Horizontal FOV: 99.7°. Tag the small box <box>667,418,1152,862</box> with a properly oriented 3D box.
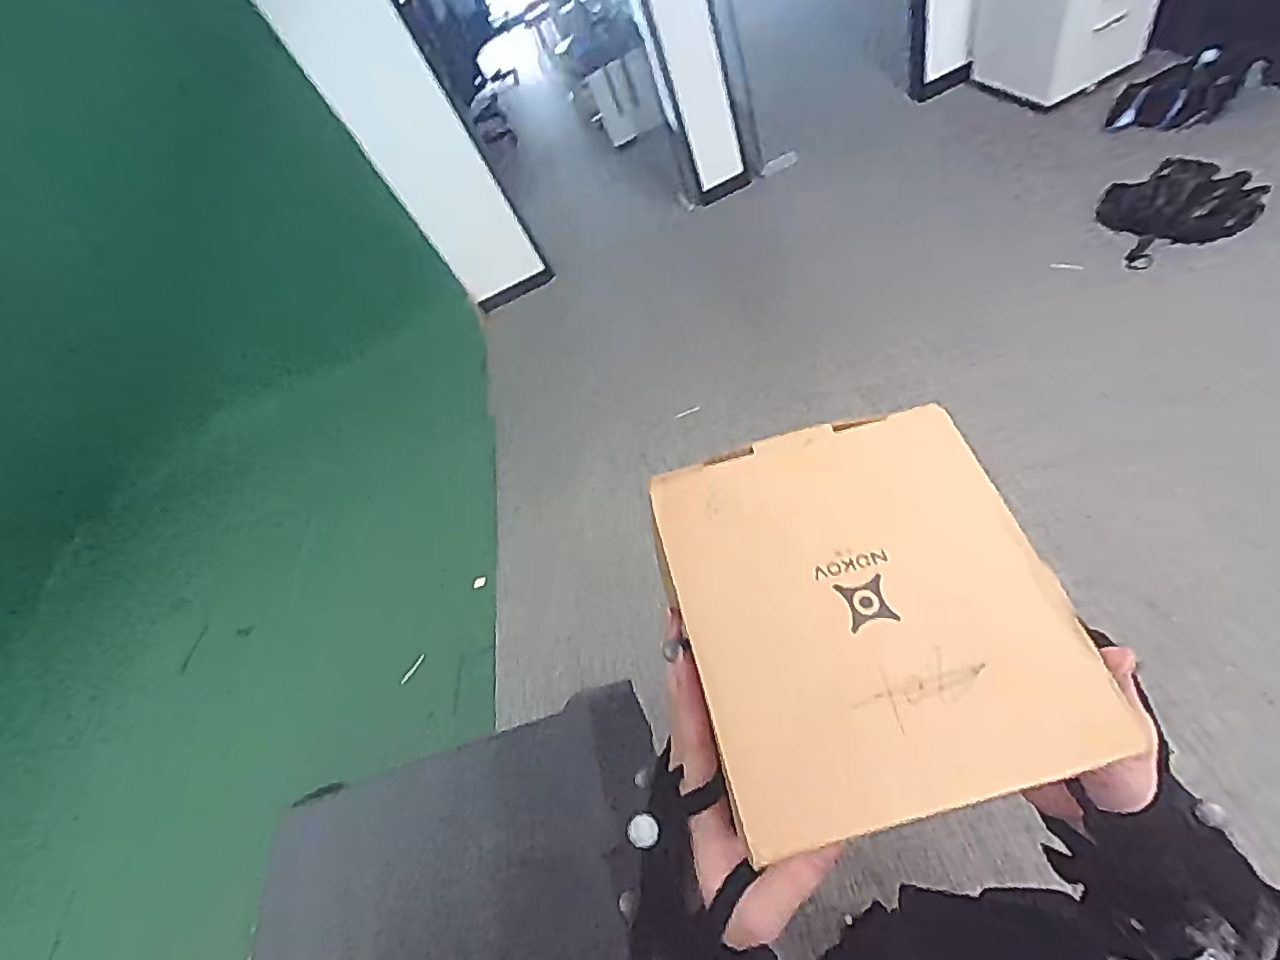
[{"bbox_3d":[0.113,0.093,0.321,0.168,0.176,0.179,-13,64,-2],"label":"small box"}]
